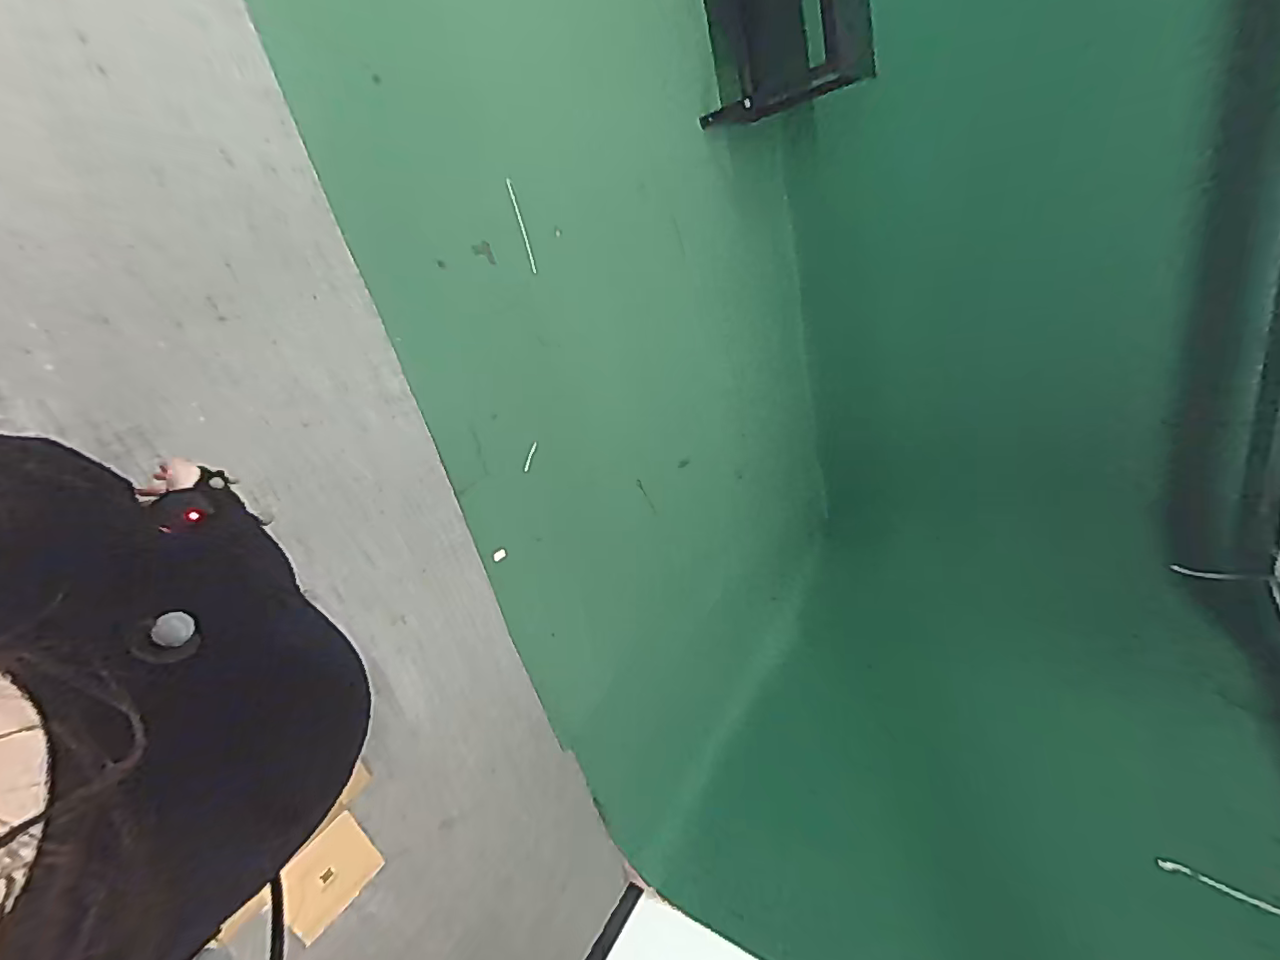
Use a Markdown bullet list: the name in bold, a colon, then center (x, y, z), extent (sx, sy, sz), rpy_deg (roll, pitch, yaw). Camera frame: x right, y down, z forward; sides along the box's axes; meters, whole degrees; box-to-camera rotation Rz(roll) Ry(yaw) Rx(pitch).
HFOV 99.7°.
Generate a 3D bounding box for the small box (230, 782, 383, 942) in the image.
- **small box**: center (-0.653, 0.736, 1.062), extent (0.168, 0.176, 0.179), rpy_deg (-42, 124, -44)

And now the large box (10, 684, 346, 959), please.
- **large box**: center (-0.918, 0.710, 1.114), extent (0.408, 0.320, 0.320), rpy_deg (-39, 121, -44)
